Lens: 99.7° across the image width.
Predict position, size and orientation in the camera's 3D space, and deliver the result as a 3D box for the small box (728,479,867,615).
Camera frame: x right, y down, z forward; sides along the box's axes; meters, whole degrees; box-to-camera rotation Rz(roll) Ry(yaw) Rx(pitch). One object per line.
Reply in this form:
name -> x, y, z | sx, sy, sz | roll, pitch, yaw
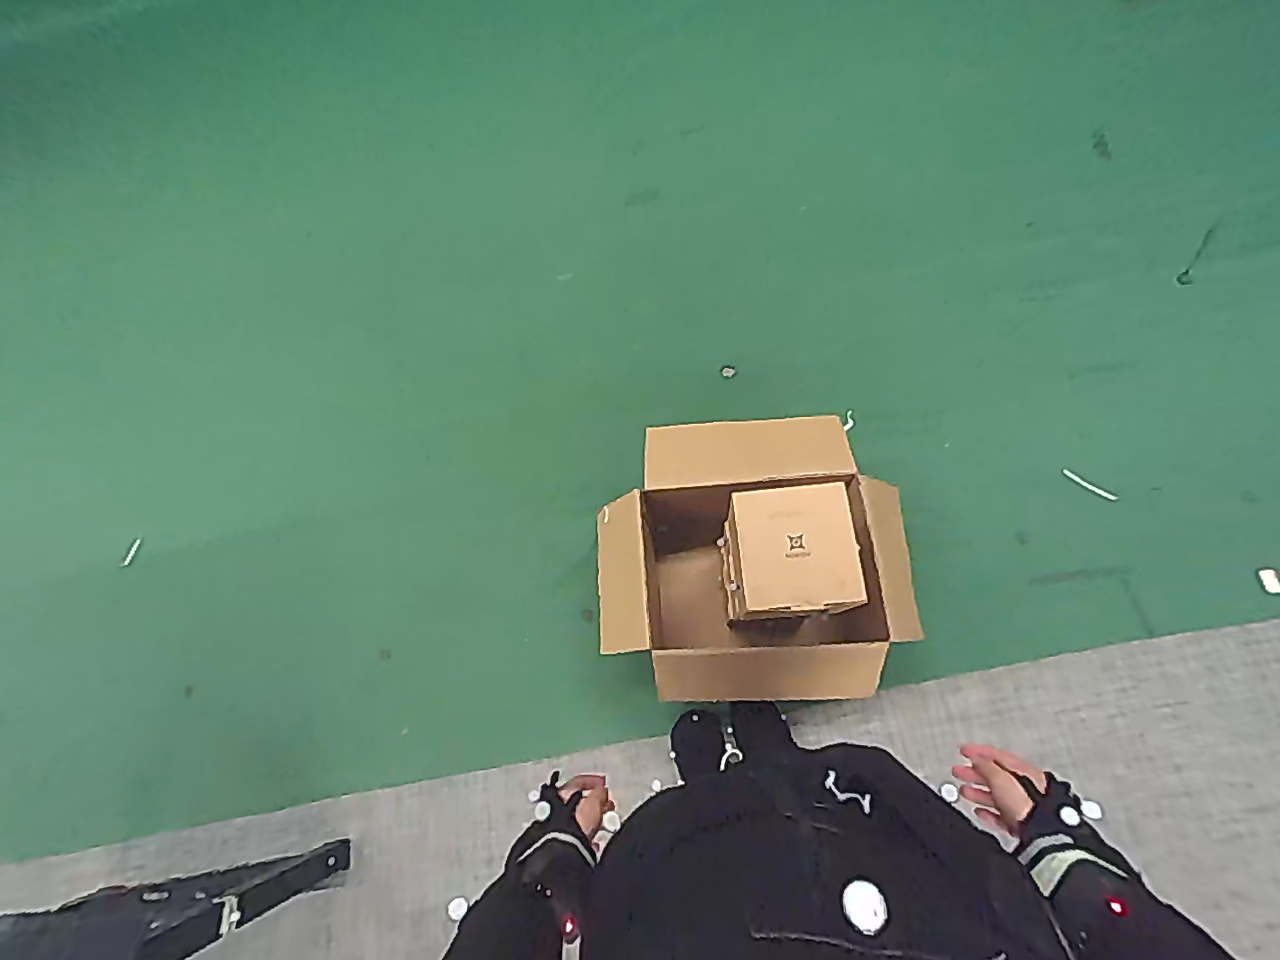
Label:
small box -> 0.231, 0.113, 0.838 | 0.168, 0.176, 0.179 | -6, 70, 4
